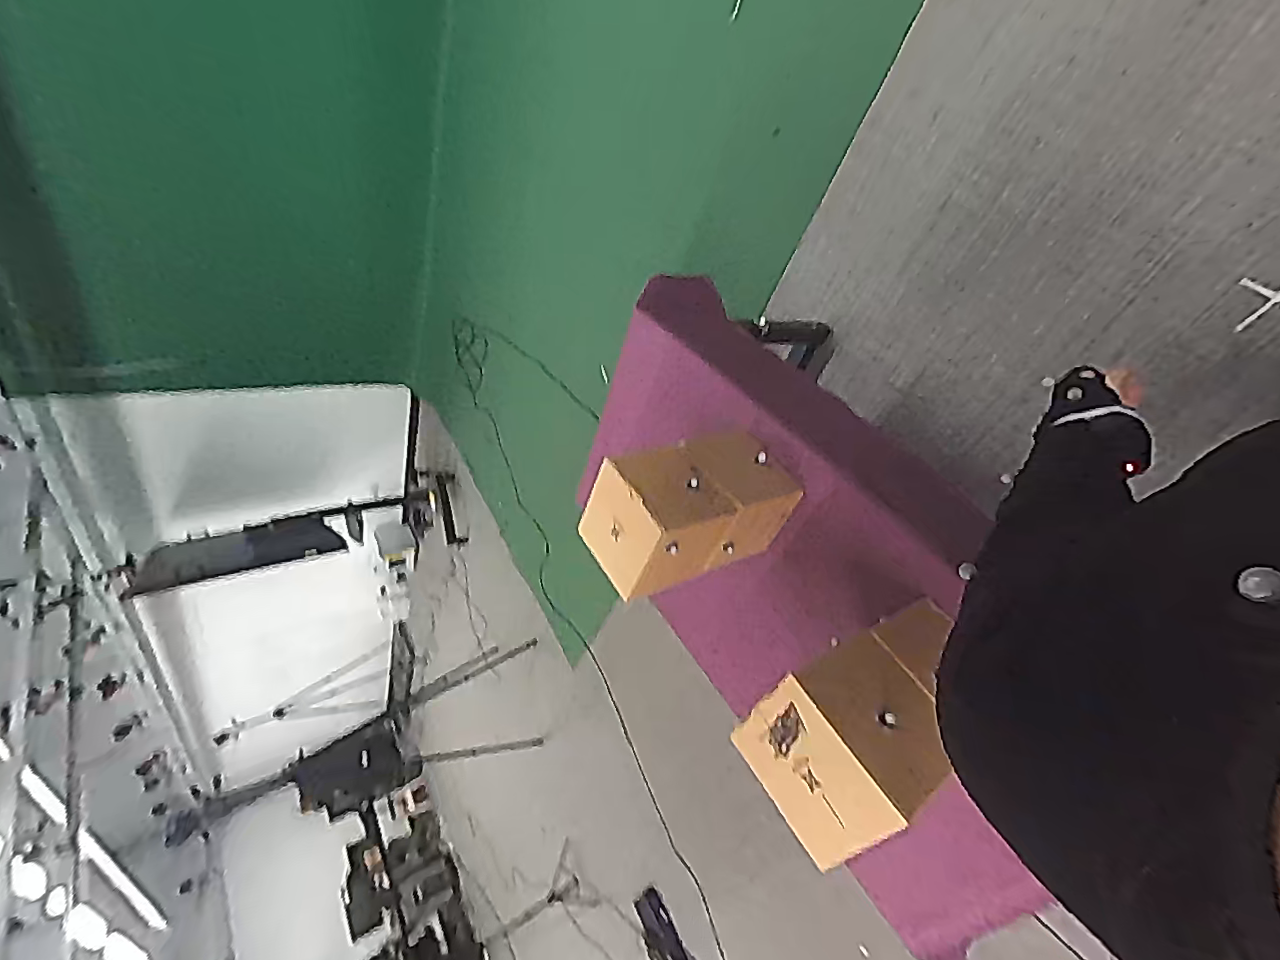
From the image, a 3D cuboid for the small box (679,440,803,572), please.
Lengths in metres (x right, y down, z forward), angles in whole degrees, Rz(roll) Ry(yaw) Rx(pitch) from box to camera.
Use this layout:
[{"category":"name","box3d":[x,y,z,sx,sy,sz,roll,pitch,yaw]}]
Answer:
[{"category":"small box","box3d":[0.159,0.040,1.000,0.179,0.176,0.168,51,135,33]}]

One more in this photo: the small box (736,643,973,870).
[{"category":"small box","box3d":[0.261,0.326,0.672,0.179,0.176,0.168,50,134,31]}]

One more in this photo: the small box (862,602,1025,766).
[{"category":"small box","box3d":[0.392,0.303,0.767,0.179,0.176,0.168,52,135,32]}]

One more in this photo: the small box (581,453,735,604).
[{"category":"small box","box3d":[0.030,0.074,0.906,0.168,0.176,0.179,51,133,31]}]
